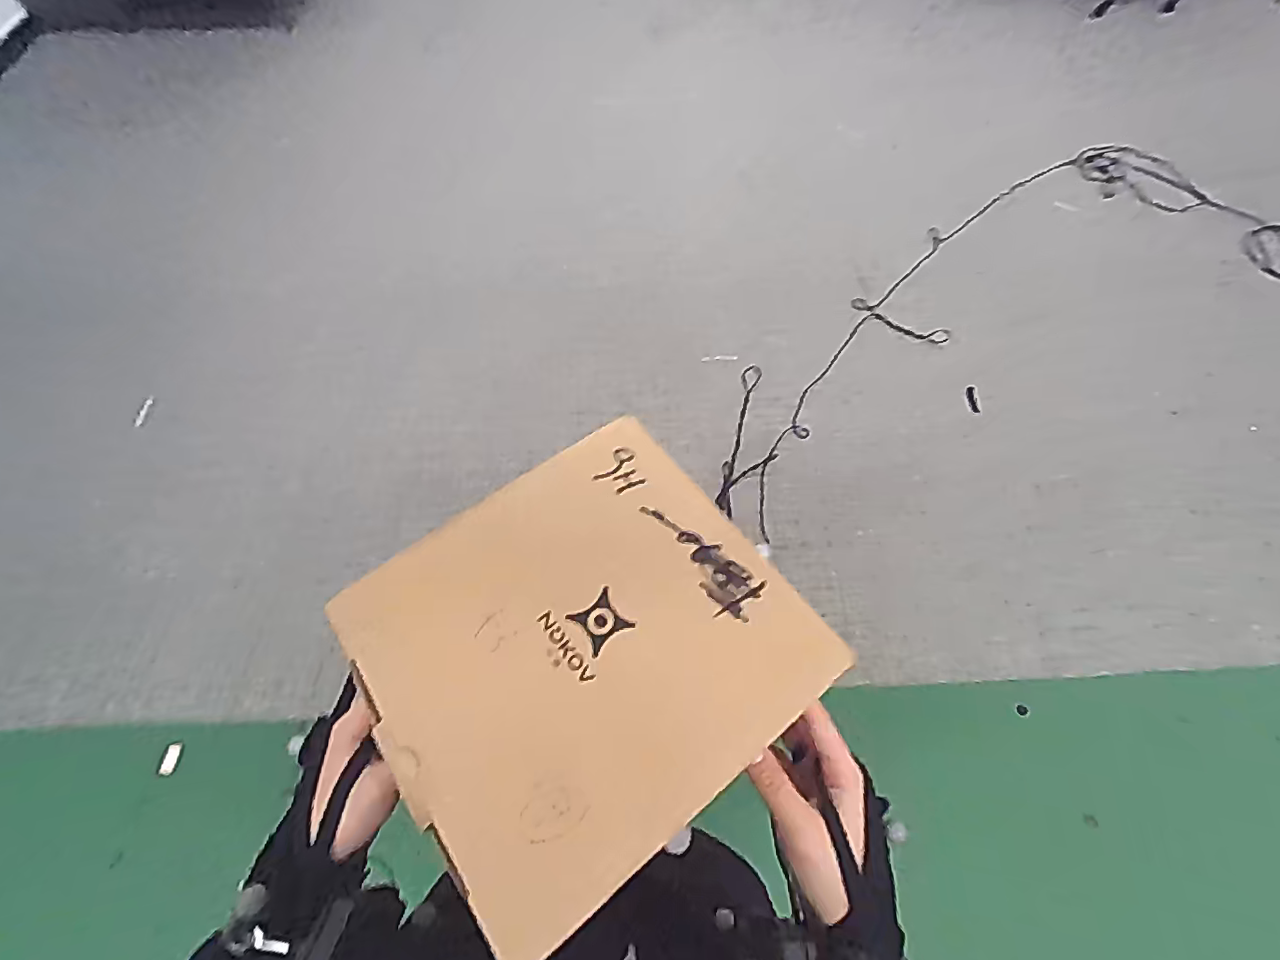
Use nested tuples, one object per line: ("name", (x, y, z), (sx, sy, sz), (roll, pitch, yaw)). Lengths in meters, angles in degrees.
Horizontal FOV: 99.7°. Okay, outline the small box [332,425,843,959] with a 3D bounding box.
("small box", (-0.024, 0.109, 0.309), (0.179, 0.176, 0.168), (-34, 66, -17))
